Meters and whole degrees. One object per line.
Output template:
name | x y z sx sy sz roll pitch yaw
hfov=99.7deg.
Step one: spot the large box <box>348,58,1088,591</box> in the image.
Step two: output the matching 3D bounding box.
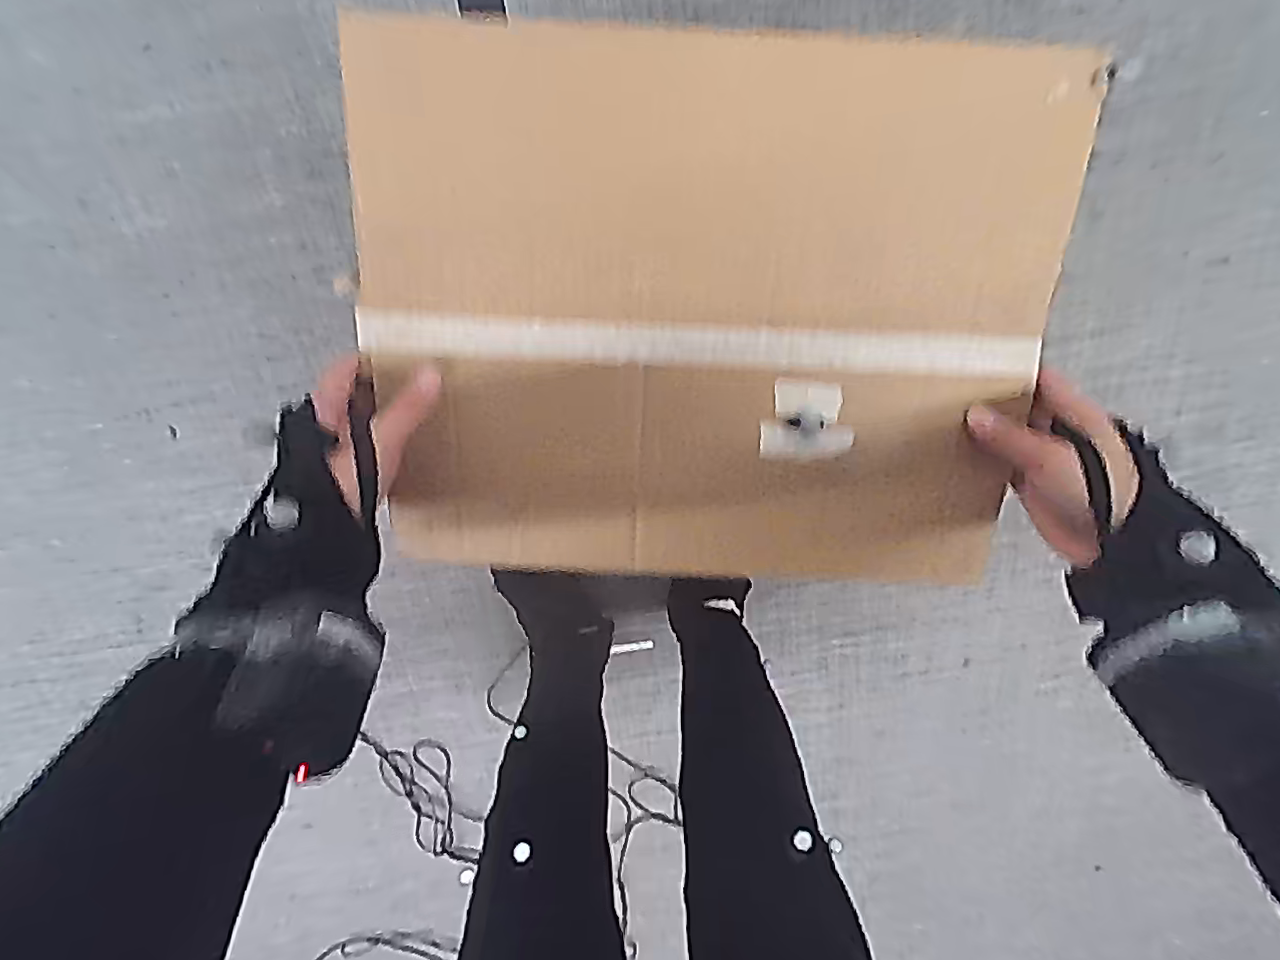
large box | 0.038 -0.114 0.471 0.408 0.320 0.320 2 108 -1
